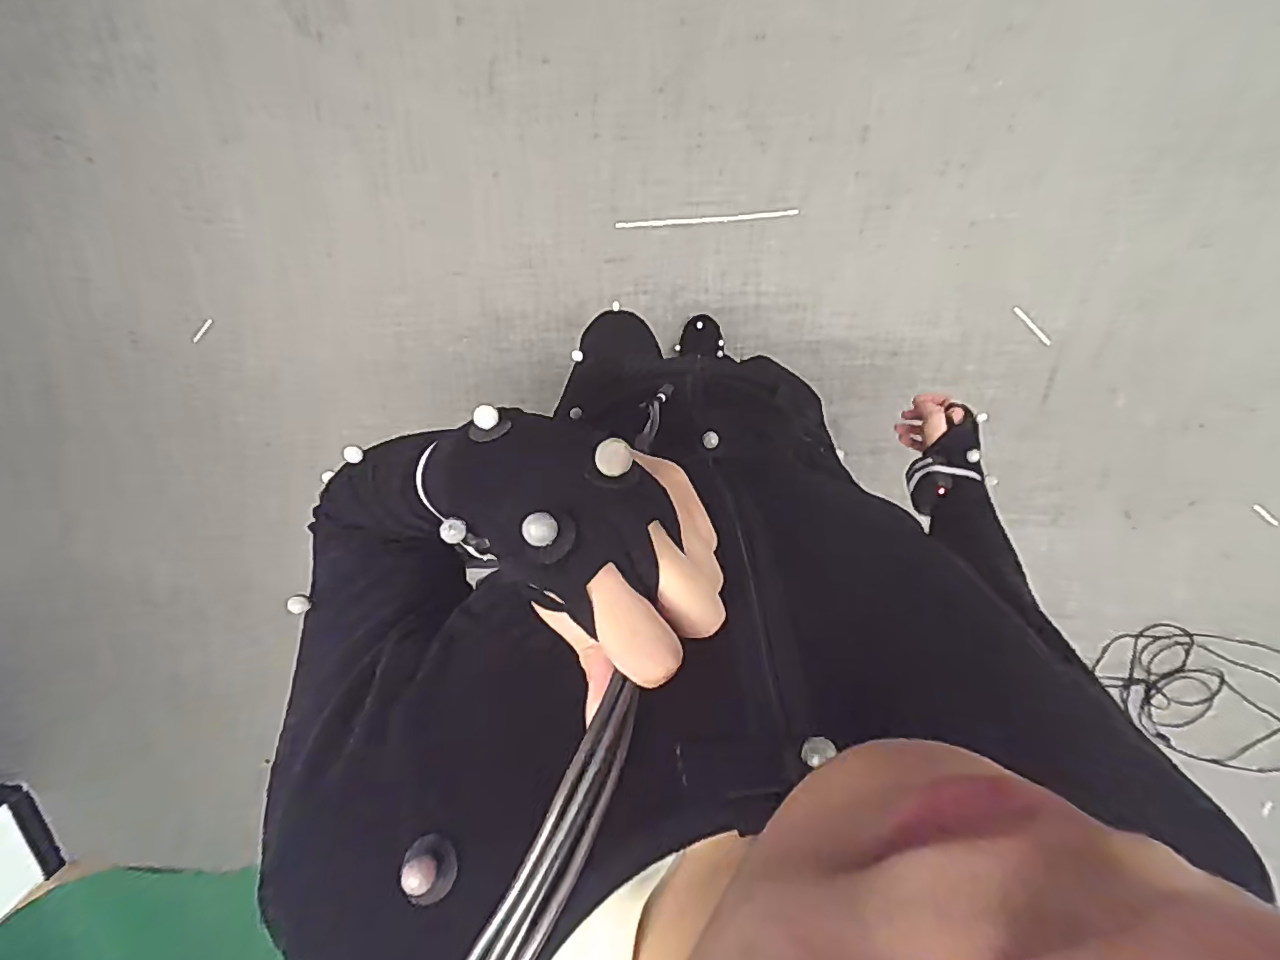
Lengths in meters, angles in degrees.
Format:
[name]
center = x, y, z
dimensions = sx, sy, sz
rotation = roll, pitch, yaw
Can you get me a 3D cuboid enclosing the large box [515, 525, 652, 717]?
[large box]
center = -0.128, 0.358, 1.446
dimensions = 0.320, 0.320, 0.408
rotation = 2, 107, 5
